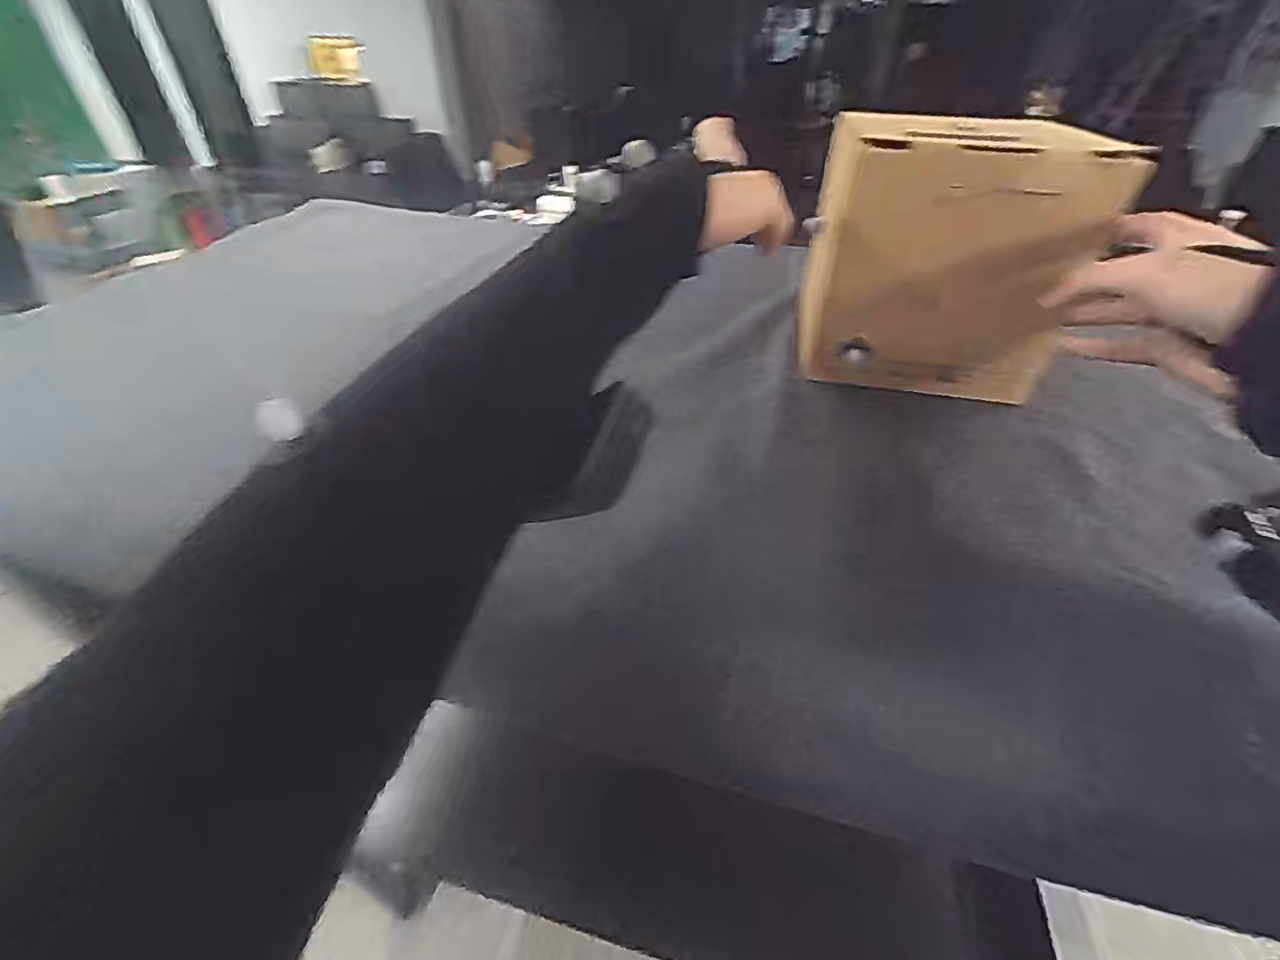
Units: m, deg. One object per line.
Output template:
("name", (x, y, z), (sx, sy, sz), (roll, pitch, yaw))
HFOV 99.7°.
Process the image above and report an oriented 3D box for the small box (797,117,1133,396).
("small box", (0.230, -0.186, 0.443), (0.168, 0.176, 0.179), (9, 40, 9))
